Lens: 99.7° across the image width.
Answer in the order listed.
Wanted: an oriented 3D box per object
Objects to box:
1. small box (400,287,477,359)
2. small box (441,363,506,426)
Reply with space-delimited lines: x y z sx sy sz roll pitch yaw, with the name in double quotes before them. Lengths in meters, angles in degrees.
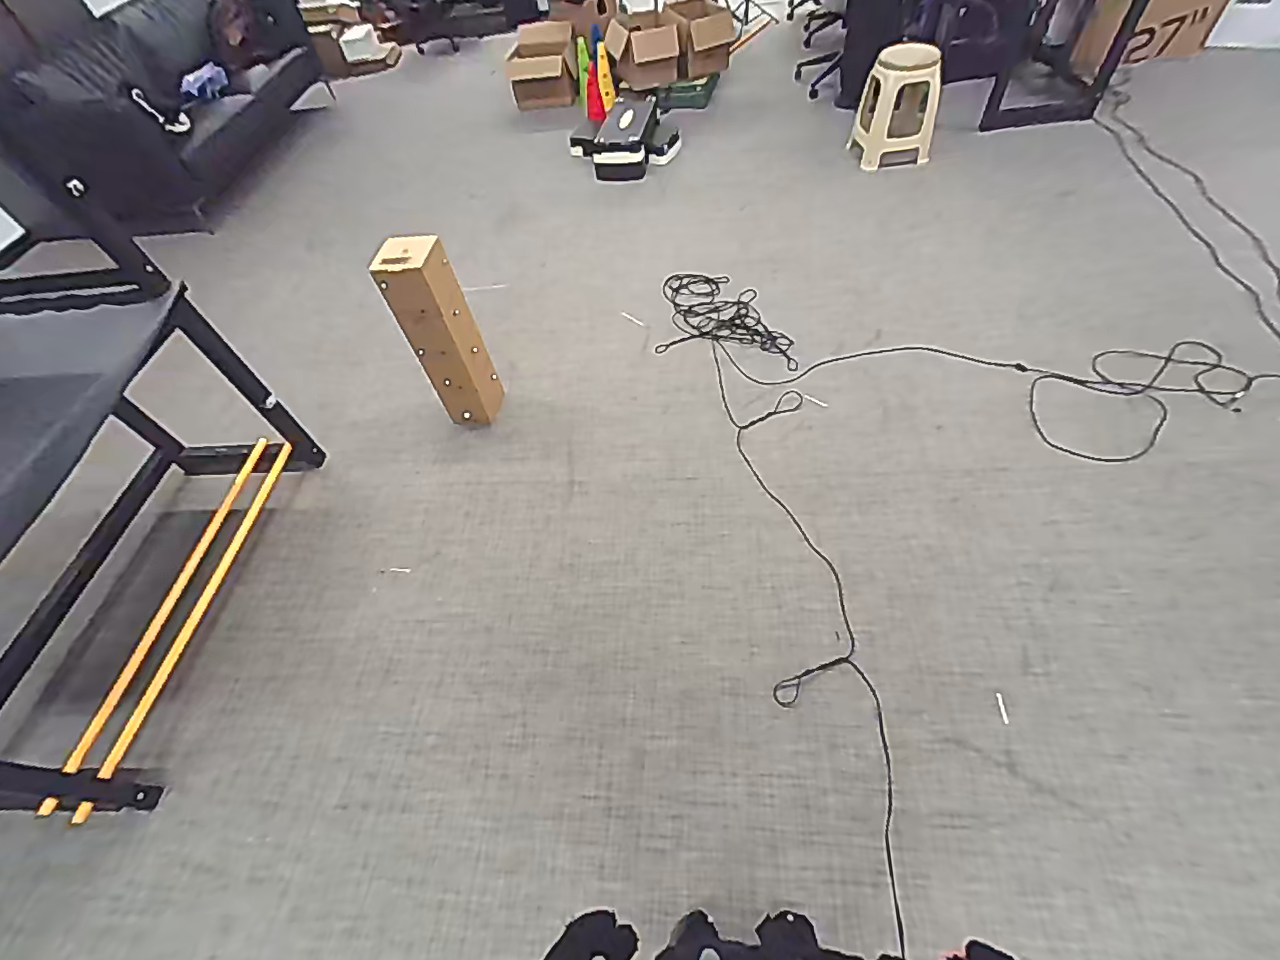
"small box" -0.669 -0.525 1.819 0.168 0.176 0.179 1 53 8
"small box" -0.632 -0.330 2.078 0.168 0.176 0.179 2 54 10
